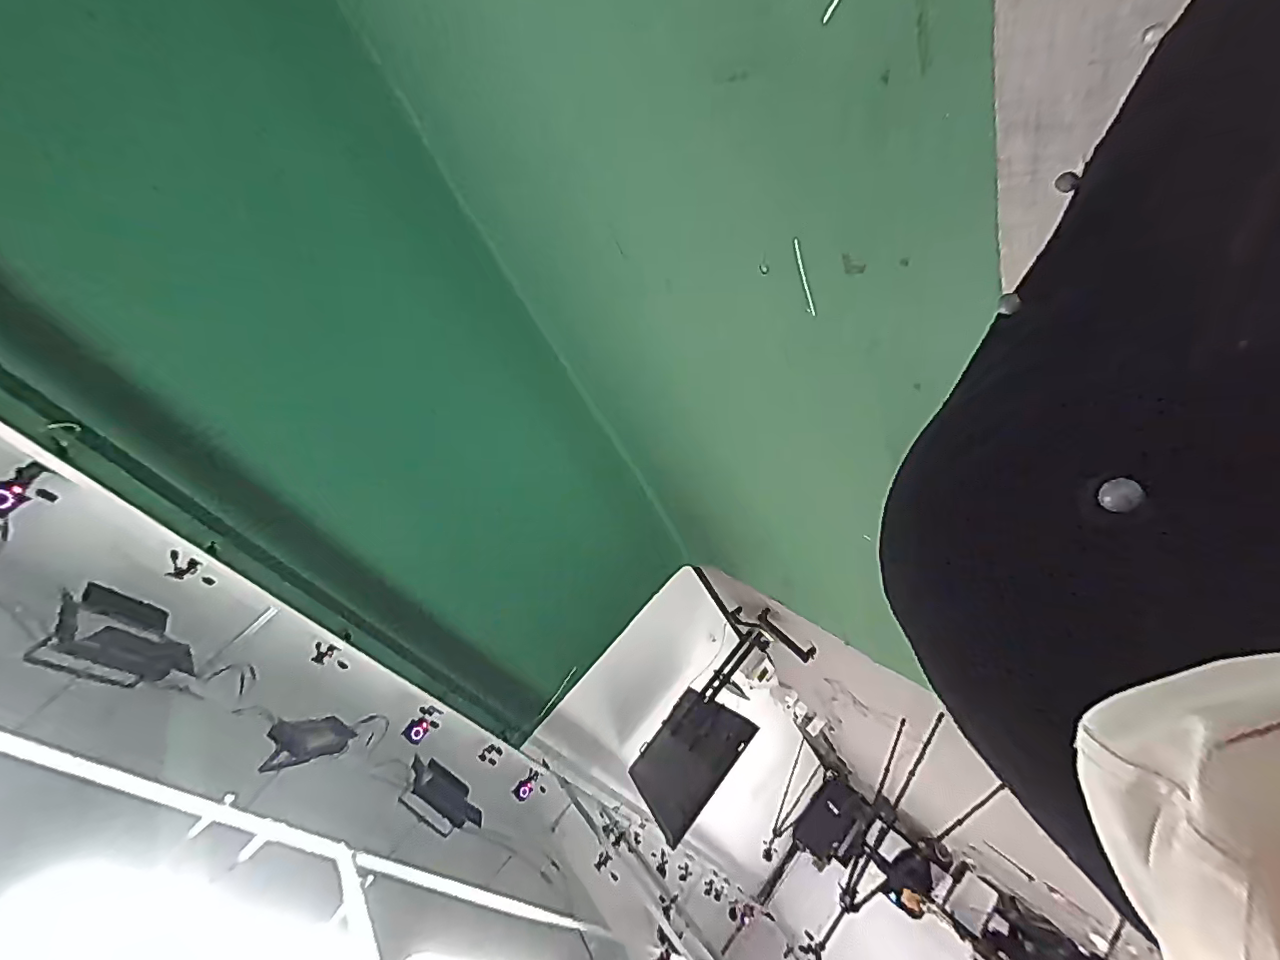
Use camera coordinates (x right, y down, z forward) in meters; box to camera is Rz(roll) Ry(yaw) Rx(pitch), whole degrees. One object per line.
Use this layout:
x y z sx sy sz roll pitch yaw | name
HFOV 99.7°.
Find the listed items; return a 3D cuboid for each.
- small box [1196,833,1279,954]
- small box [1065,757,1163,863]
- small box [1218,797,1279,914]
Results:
1.512 1.008 1.319 0.168 0.176 0.179 24 155 49 | small box
1.337 0.928 1.529 0.168 0.176 0.179 22 152 49 | small box
1.386 0.819 1.147 0.168 0.176 0.179 23 155 49 | small box
